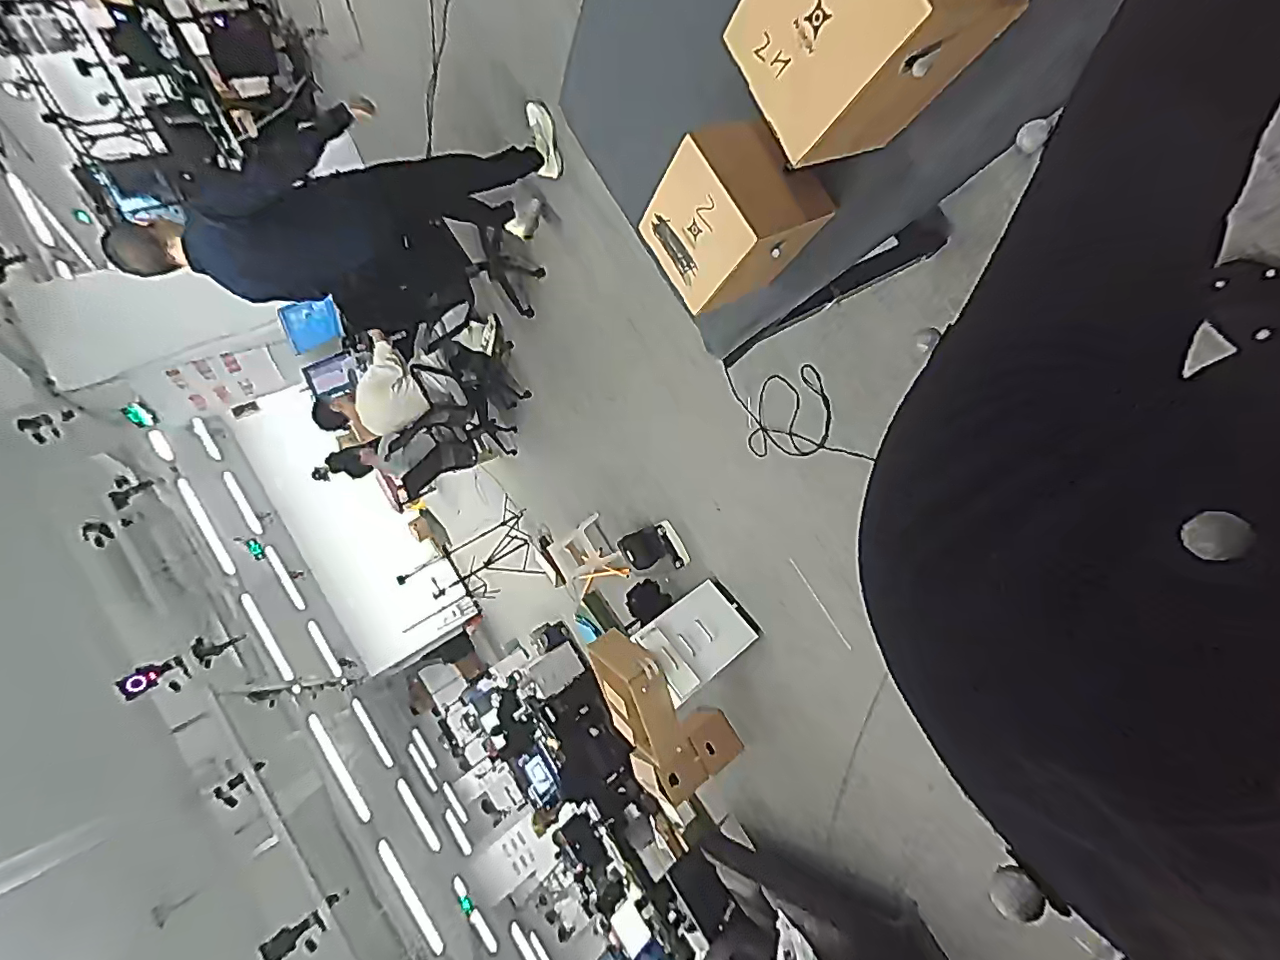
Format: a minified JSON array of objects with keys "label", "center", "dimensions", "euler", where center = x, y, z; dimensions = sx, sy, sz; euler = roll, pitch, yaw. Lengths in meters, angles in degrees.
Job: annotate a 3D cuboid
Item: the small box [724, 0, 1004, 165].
[{"label":"small box","center":[0.226,-0.463,0.545],"dimensions":[0.168,0.176,0.179],"euler":[62,154,0]}]
